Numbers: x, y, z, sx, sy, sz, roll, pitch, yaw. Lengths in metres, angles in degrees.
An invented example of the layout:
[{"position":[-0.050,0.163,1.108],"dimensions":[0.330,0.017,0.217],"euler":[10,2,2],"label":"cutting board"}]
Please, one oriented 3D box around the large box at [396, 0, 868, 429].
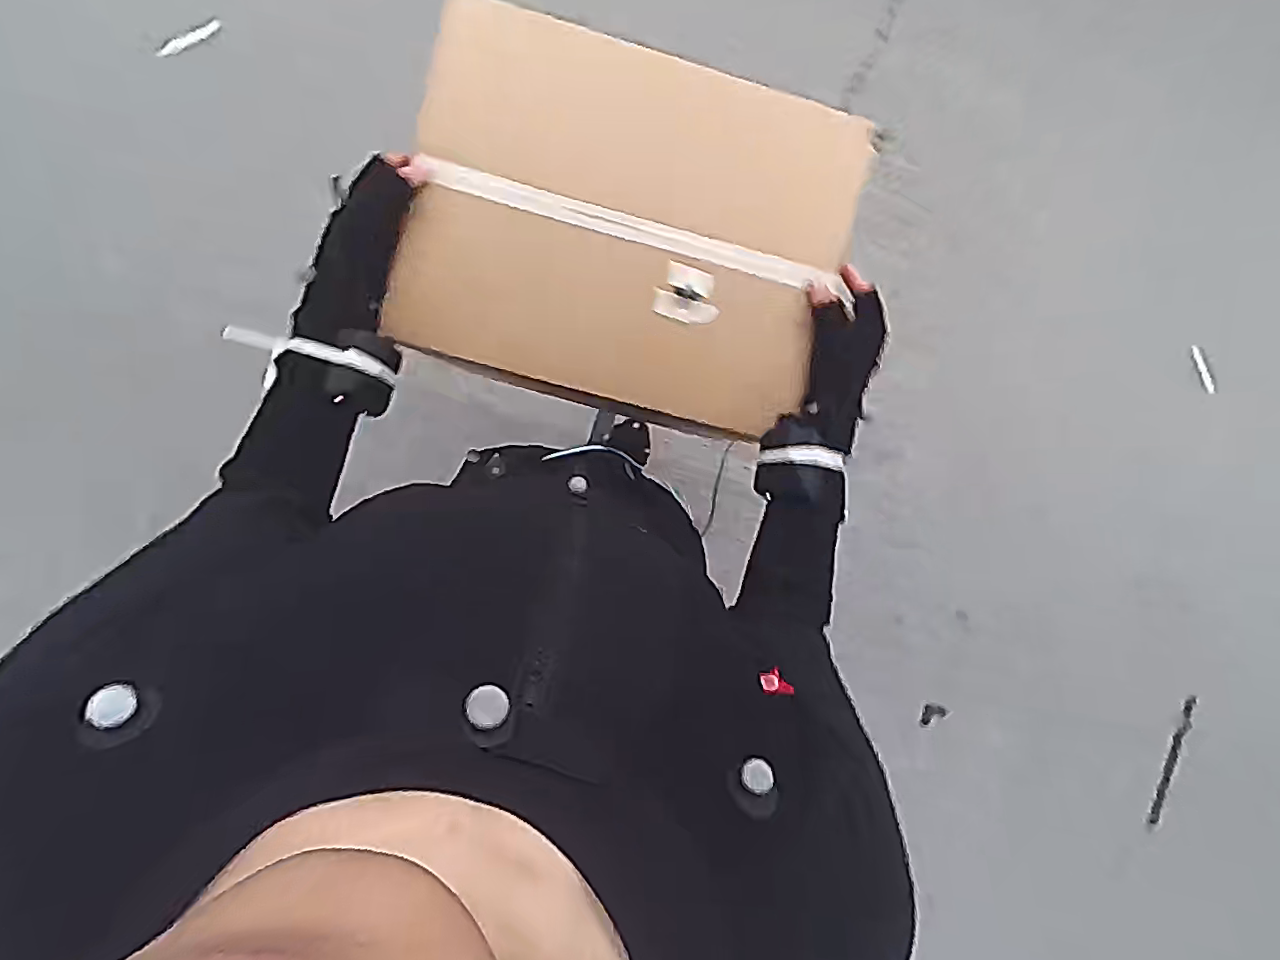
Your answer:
[{"position":[-0.017,-0.257,0.661],"dimensions":[0.408,0.320,0.320],"euler":[14,95,-6],"label":"large box"}]
